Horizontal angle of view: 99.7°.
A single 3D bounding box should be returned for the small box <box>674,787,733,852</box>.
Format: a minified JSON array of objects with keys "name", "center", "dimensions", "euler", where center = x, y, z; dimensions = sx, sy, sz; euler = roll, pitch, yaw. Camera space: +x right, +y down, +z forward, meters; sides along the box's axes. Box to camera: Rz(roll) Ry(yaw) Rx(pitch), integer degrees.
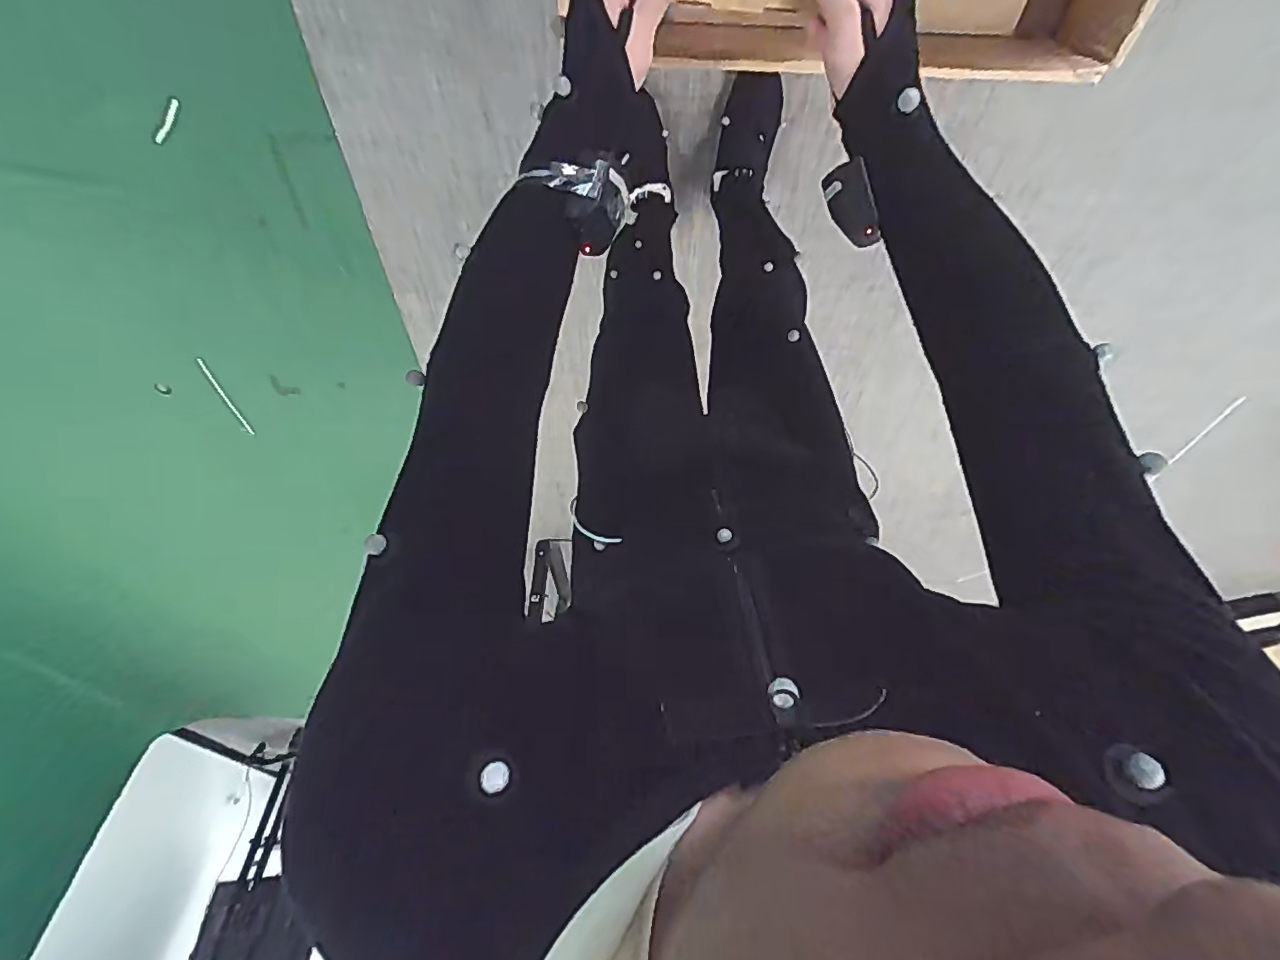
[{"name":"small box","center":[0.209,1.142,1.819],"dimensions":[0.179,0.176,0.168],"euler":[0,139,1]}]
